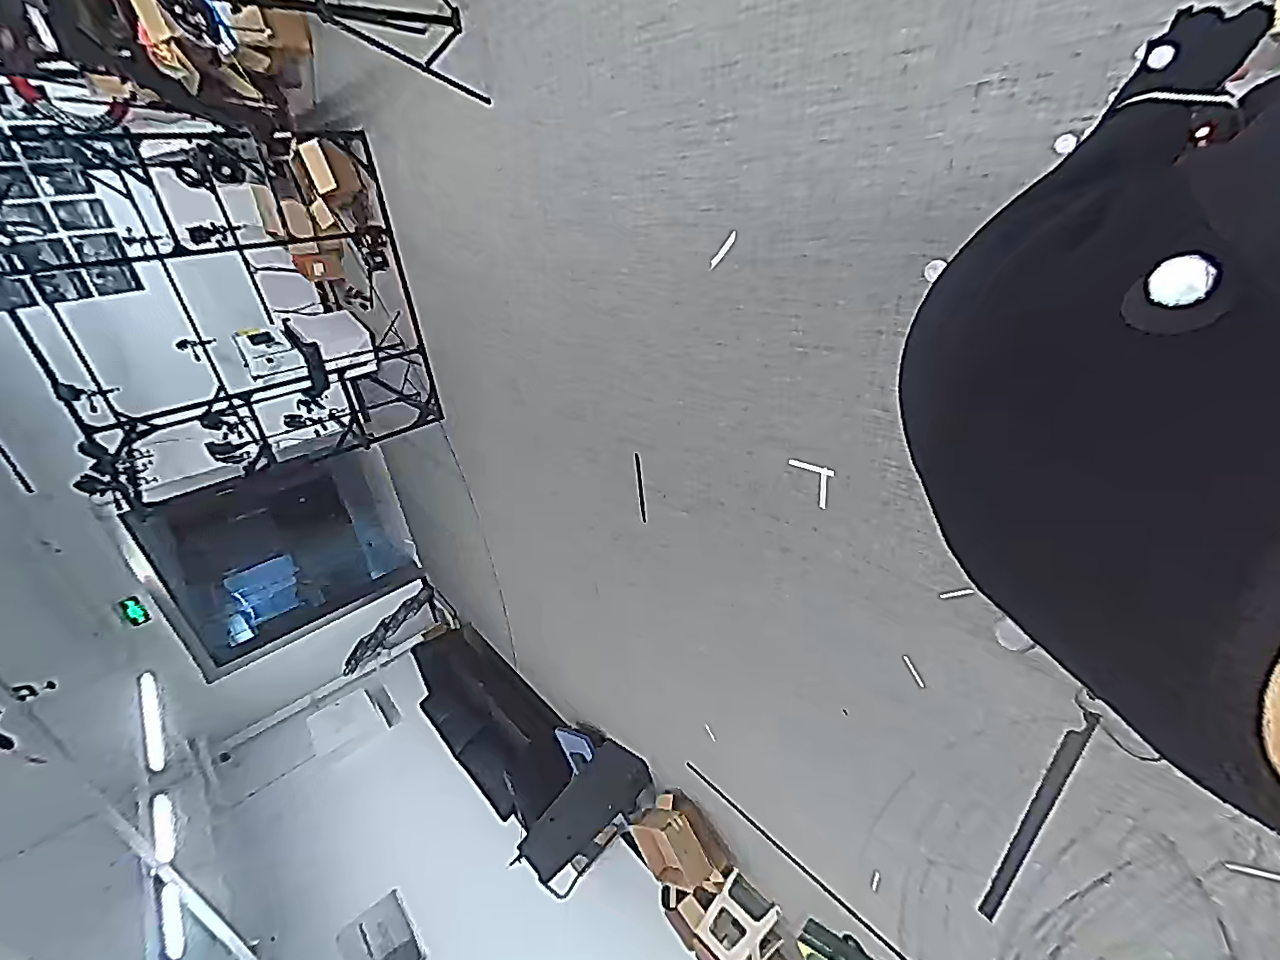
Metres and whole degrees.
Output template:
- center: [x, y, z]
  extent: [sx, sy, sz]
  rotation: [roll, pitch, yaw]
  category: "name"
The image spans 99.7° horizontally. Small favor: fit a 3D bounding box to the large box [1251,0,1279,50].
- center: [1.039, -0.700, 0.587]
  extent: [0.408, 0.320, 0.320]
  rotation: [27, 132, 41]
  category: "large box"
